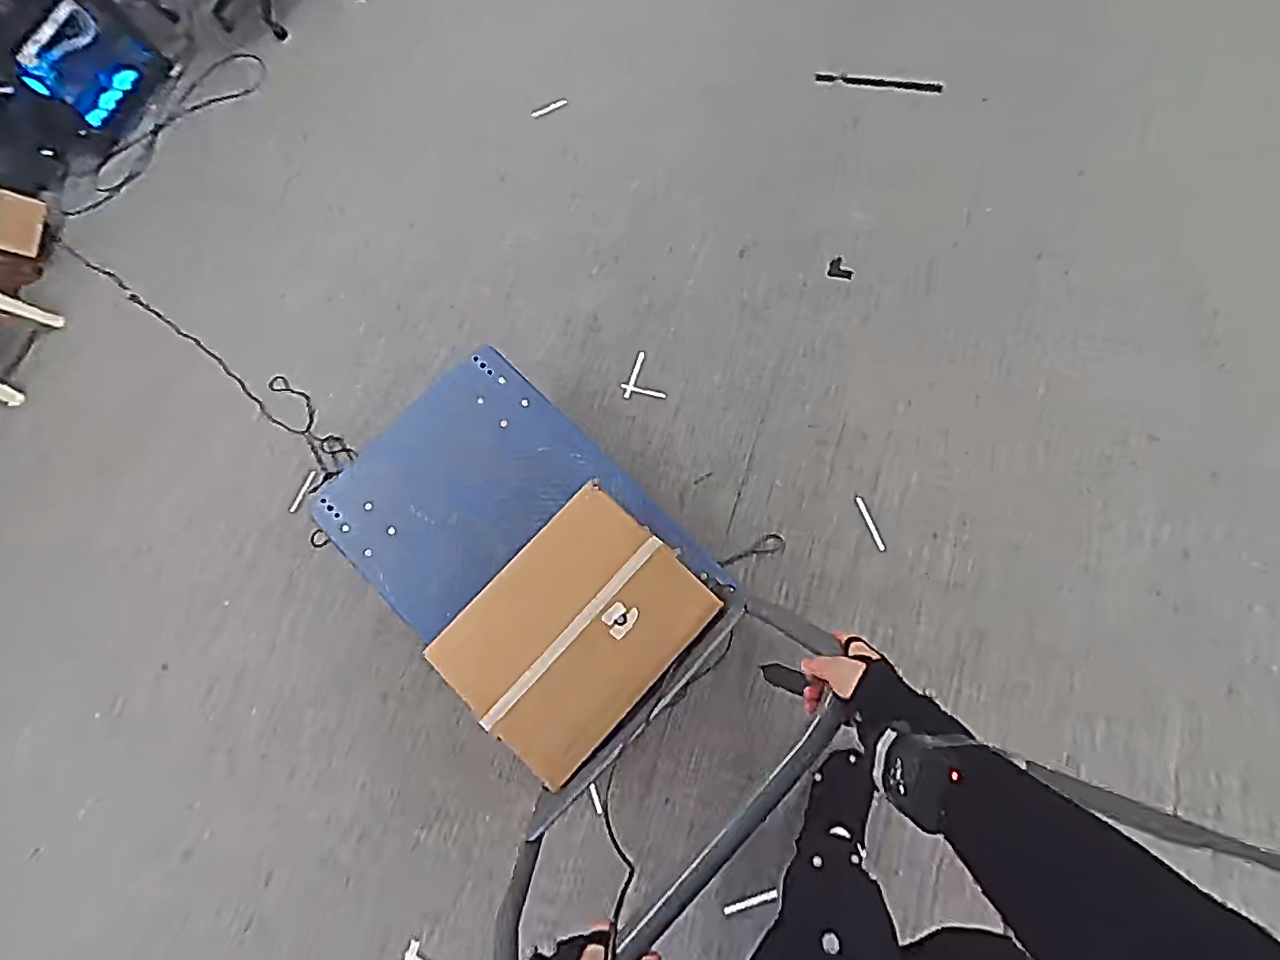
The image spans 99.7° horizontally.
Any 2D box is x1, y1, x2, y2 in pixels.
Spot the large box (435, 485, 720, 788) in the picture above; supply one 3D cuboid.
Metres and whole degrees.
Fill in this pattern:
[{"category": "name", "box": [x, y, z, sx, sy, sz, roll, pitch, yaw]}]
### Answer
[{"category": "large box", "box": [-0.103, 0.281, 1.052, 0.320, 0.320, 0.408, 43, 82, 7]}]
